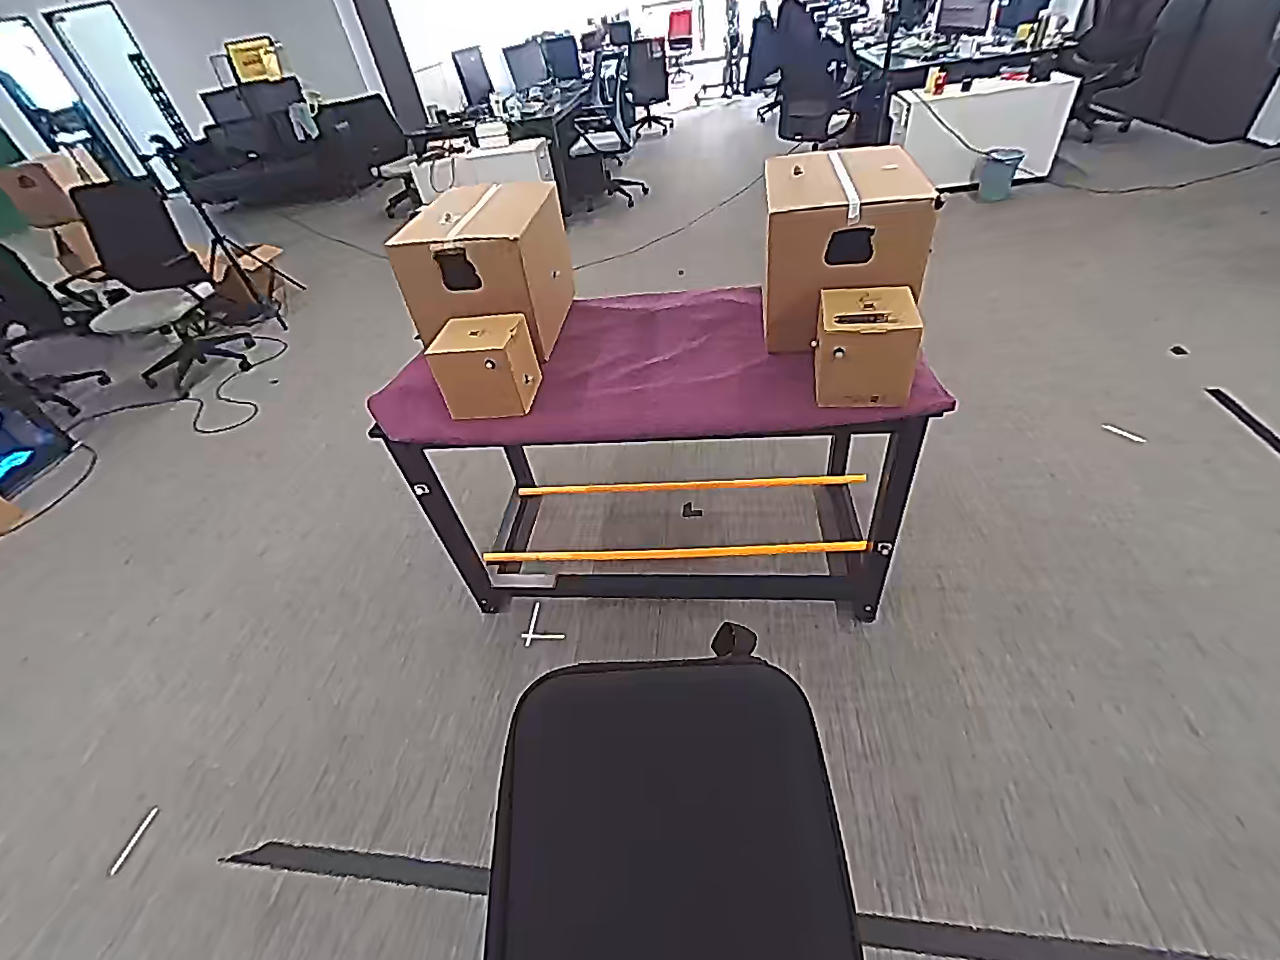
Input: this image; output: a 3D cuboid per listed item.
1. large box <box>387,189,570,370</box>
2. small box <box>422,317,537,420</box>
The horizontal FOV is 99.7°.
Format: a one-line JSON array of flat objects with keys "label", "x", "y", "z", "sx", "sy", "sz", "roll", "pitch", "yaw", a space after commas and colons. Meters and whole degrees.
[{"label": "large box", "x": -0.383, "y": -0.523, "z": 1.413, "sx": 0.320, "sy": 0.320, "sz": 0.408, "roll": -1, "pitch": 45, "yaw": 7}, {"label": "small box", "x": -0.347, "y": -0.245, "z": 1.206, "sx": 0.179, "sy": 0.176, "sz": 0.168, "roll": -3, "pitch": 41, "yaw": 7}]
